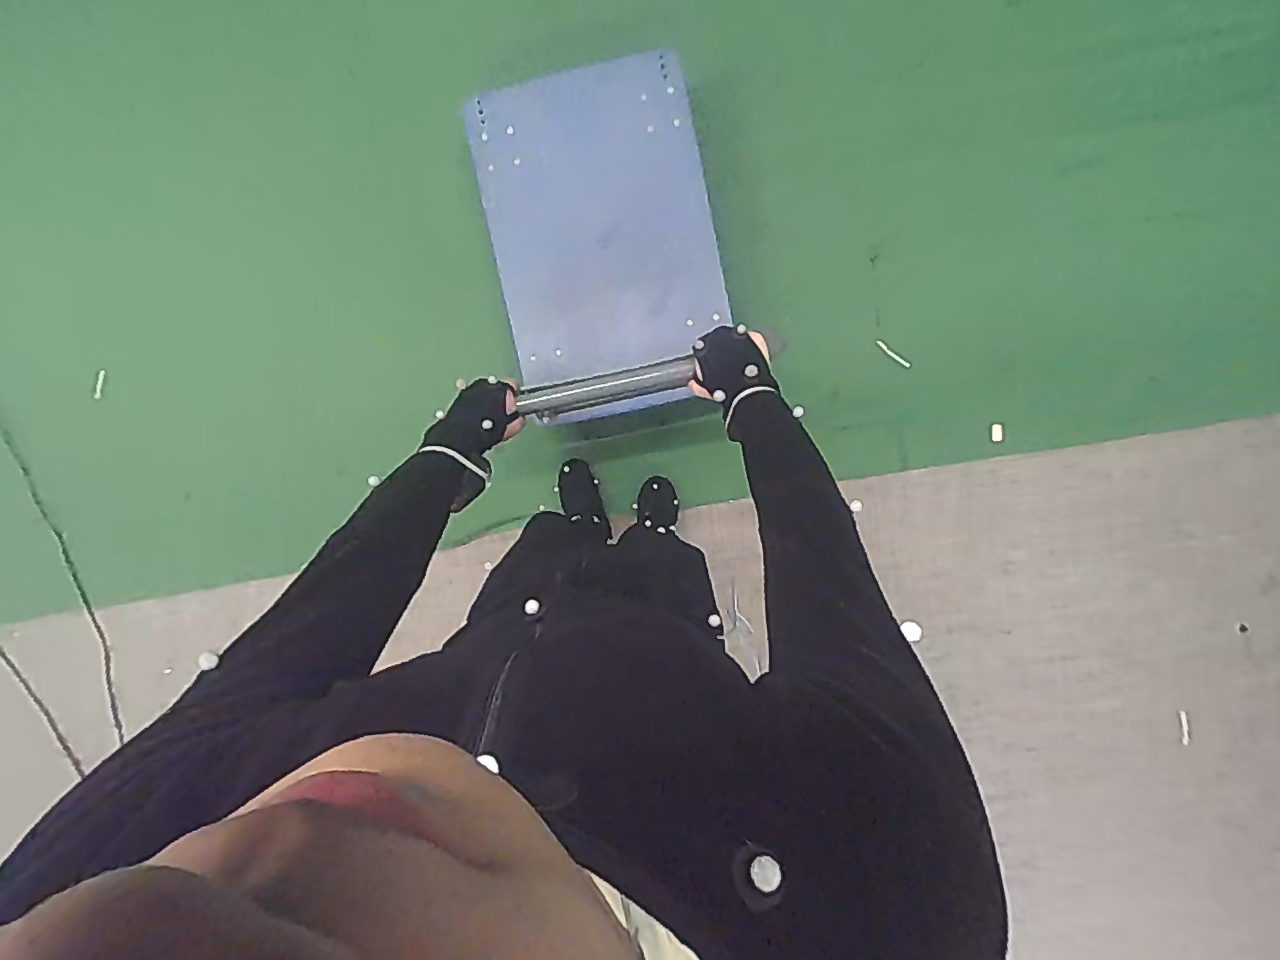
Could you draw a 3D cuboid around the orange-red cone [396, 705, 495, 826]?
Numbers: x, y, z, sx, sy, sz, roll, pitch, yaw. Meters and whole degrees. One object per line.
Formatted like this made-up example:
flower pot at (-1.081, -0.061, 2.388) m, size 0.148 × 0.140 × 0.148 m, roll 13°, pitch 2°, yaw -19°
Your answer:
orange-red cone at (-0.577, 0.825, 1.505) m, size 0.199 × 0.360 × 0.198 m, roll -24°, pitch 92°, yaw 5°
